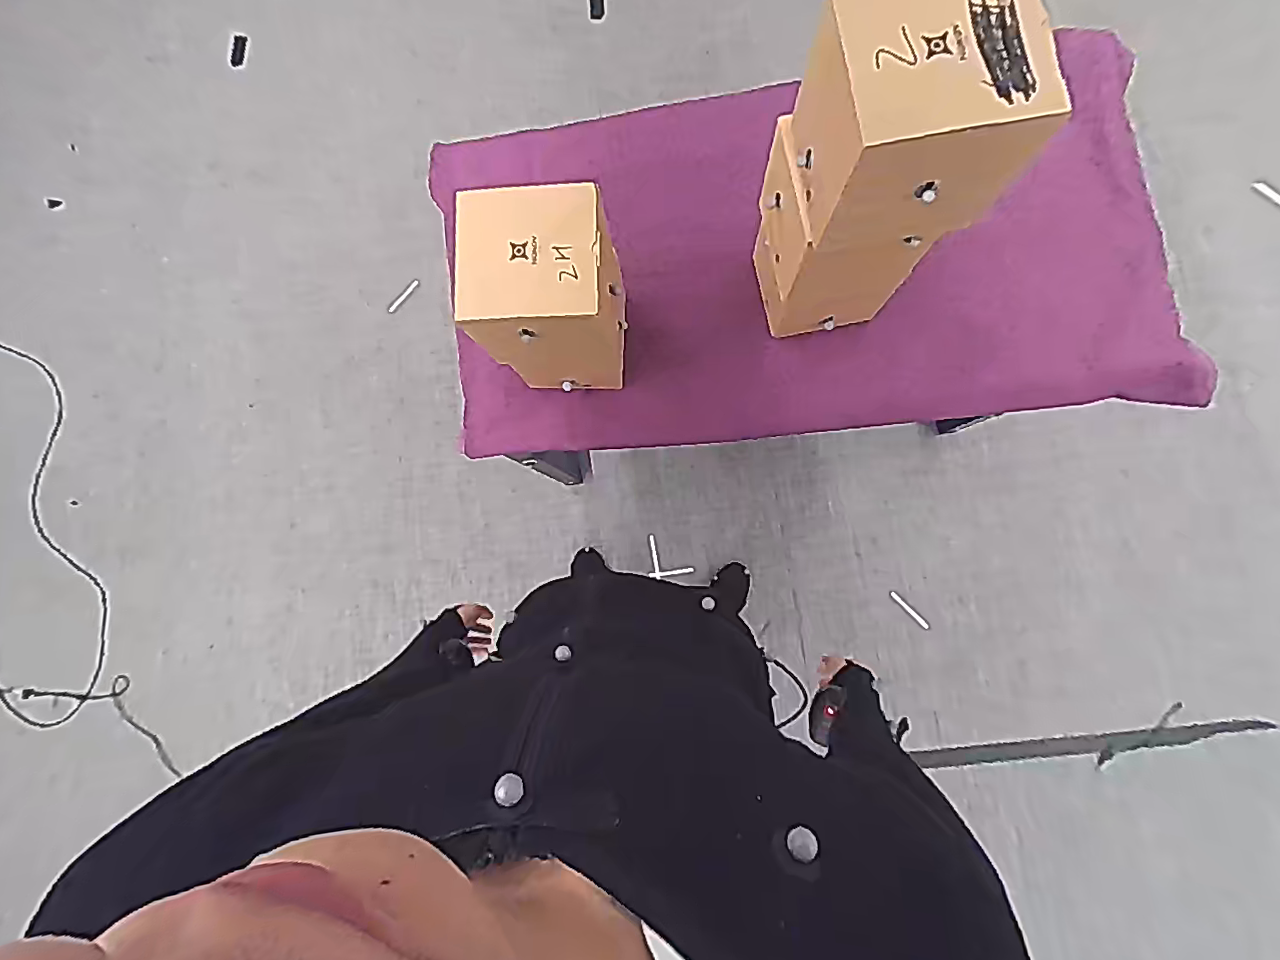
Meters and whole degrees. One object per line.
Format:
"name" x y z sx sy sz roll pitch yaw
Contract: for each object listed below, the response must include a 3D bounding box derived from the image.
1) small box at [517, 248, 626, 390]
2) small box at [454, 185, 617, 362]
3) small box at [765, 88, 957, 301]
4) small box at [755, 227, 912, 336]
"small box" -0.112 -0.256 0.883 0.168 0.176 0.179 1 85 4
"small box" -0.128 -0.261 0.719 0.179 0.176 0.168 -1 85 4
"small box" 0.268 -0.355 0.705 0.179 0.176 0.168 -10 83 2
"small box" 0.296 -0.349 0.867 0.179 0.176 0.168 -11 82 2
